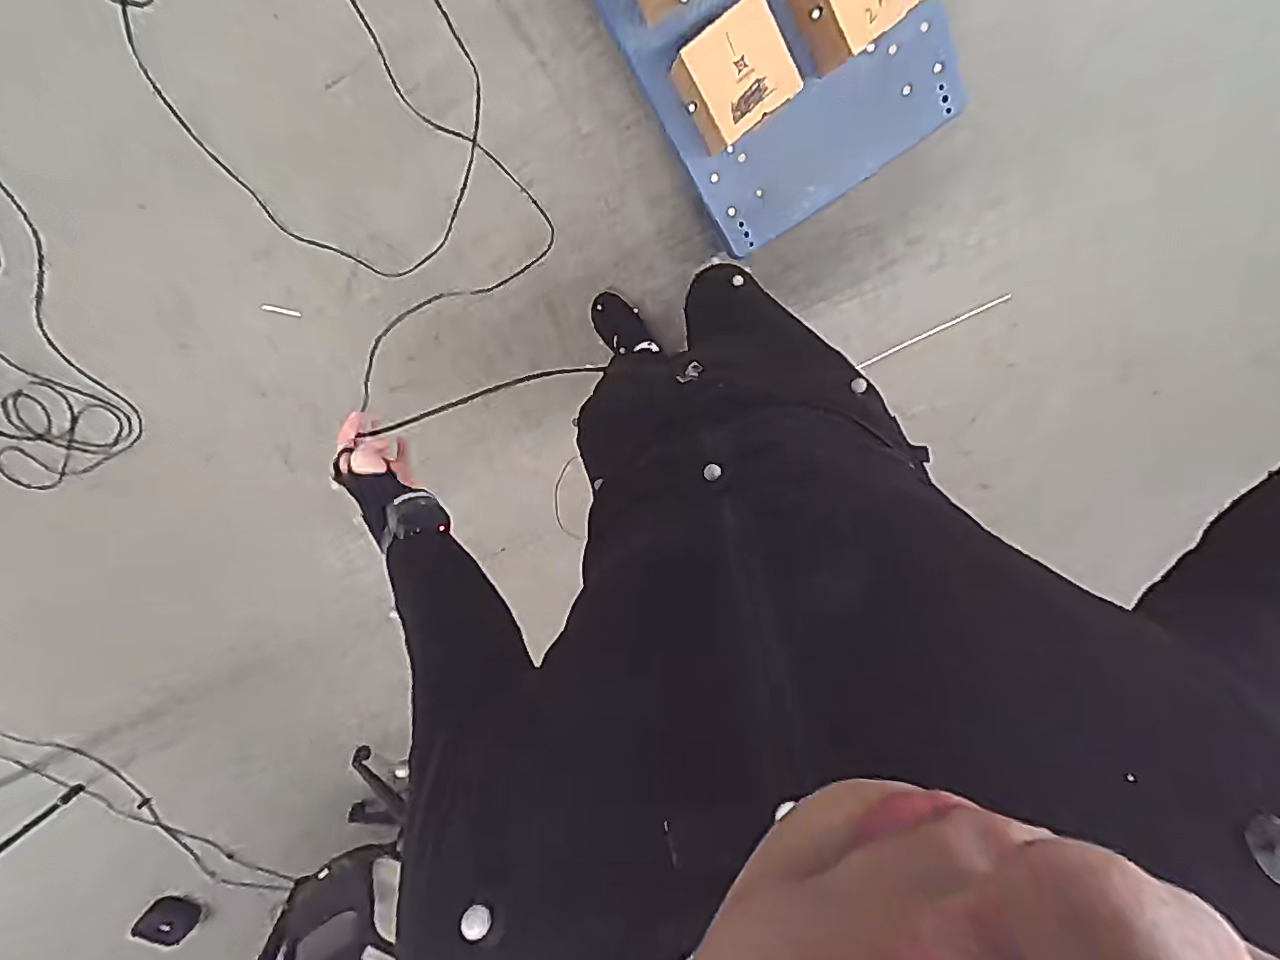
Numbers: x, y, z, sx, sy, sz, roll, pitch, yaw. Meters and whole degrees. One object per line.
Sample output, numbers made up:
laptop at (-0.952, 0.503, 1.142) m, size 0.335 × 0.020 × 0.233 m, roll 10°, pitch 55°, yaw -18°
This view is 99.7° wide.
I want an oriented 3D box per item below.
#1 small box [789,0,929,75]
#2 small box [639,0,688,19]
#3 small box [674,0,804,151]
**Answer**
small box at (0.396, -0.892, 0.986) m, size 0.168 × 0.176 × 0.179 m, roll -34°, pitch 113°, yaw 13°
small box at (0.055, -0.953, 0.939) m, size 0.168 × 0.176 × 0.179 m, roll -29°, pitch 113°, yaw 10°
small box at (0.183, -0.763, 1.037) m, size 0.168 × 0.176 × 0.179 m, roll -33°, pitch 113°, yaw 11°
